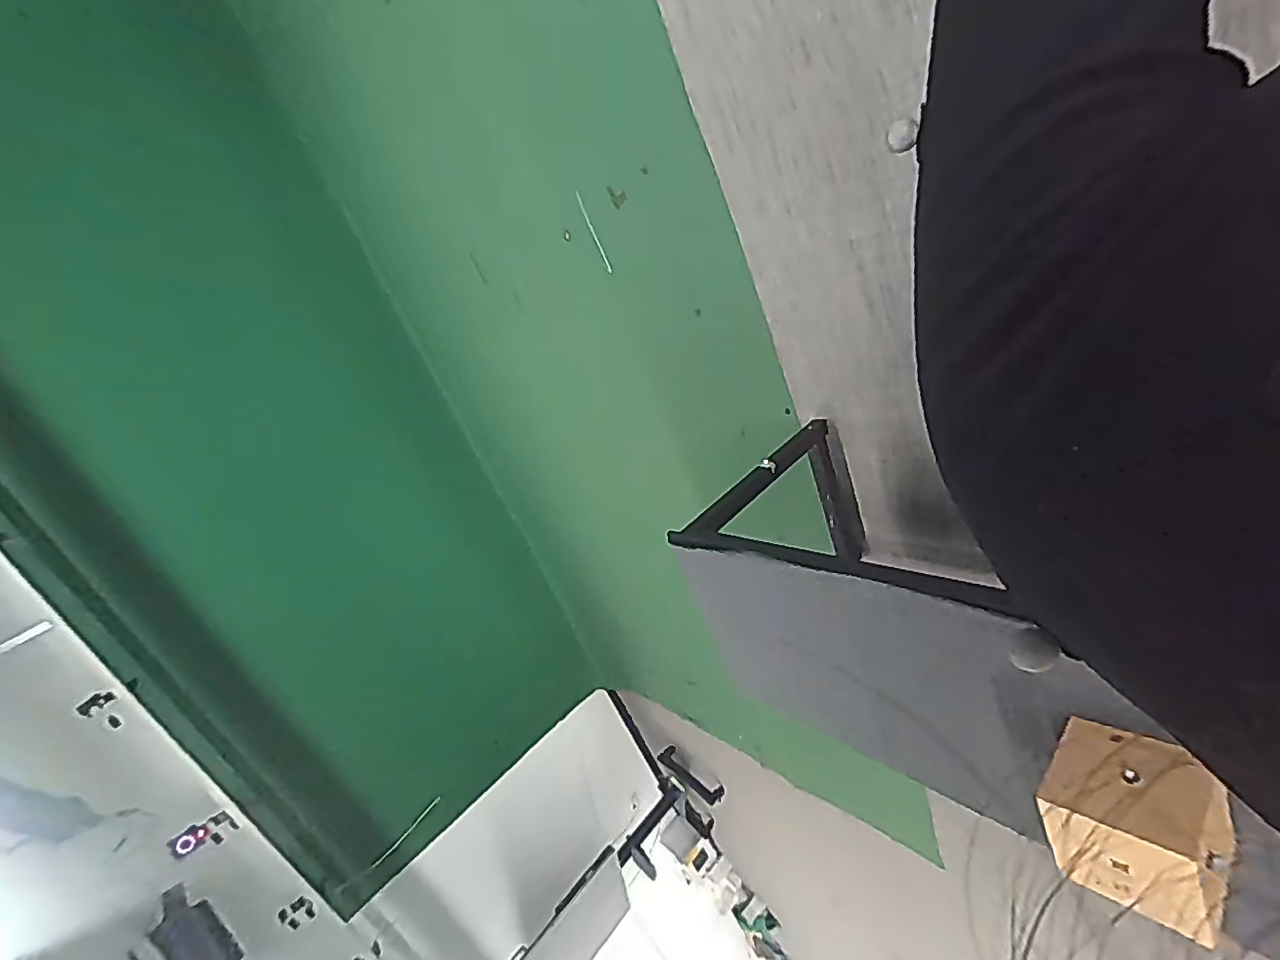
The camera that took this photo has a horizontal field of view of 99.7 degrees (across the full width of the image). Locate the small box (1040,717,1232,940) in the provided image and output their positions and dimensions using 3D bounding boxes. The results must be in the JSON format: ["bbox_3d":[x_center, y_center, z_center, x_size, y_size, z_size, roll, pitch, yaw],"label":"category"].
[{"bbox_3d":[0.713,0.480,0.777,0.168,0.176,0.179,-1,120,56],"label":"small box"}]
